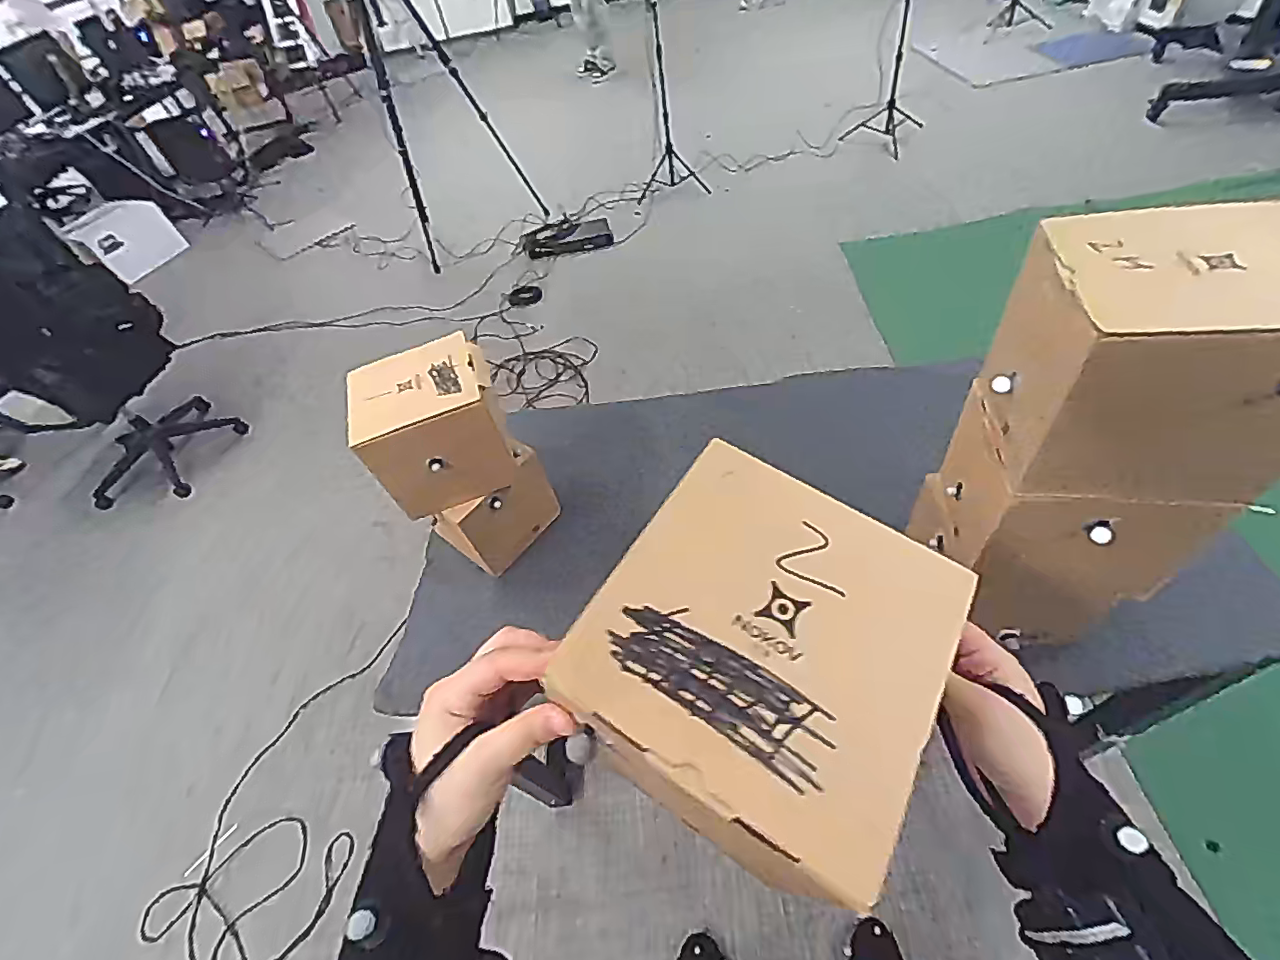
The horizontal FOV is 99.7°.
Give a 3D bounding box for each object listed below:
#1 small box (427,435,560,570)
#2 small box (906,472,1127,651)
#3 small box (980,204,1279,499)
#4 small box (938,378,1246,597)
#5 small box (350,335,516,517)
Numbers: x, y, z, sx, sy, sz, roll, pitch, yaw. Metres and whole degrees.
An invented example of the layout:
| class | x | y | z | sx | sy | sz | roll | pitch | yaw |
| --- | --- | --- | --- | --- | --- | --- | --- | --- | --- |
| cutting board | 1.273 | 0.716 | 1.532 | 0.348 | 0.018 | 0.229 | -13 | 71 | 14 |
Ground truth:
| class | x | y | z | sx | sy | sz | roll | pitch | yaw |
| --- | --- | --- | --- | --- | --- | --- | --- | --- | --- |
| small box | -0.266 | 0.024 | 0.919 | 0.179 | 0.176 | 0.168 | 28 | 62 | 30 |
| small box | 0.464 | 0.101 | 0.698 | 0.168 | 0.176 | 0.179 | -7 | 49 | 8 |
| small box | 0.412 | -0.098 | 0.444 | 0.179 | 0.176 | 0.168 | 2 | 50 | 16 |
| small box | 0.437 | 0.009 | 0.566 | 0.179 | 0.176 | 0.168 | 1 | 50 | 15 |
| small box | -0.293 | -0.076 | 0.790 | 0.179 | 0.176 | 0.168 | -21 | 51 | -5 |
